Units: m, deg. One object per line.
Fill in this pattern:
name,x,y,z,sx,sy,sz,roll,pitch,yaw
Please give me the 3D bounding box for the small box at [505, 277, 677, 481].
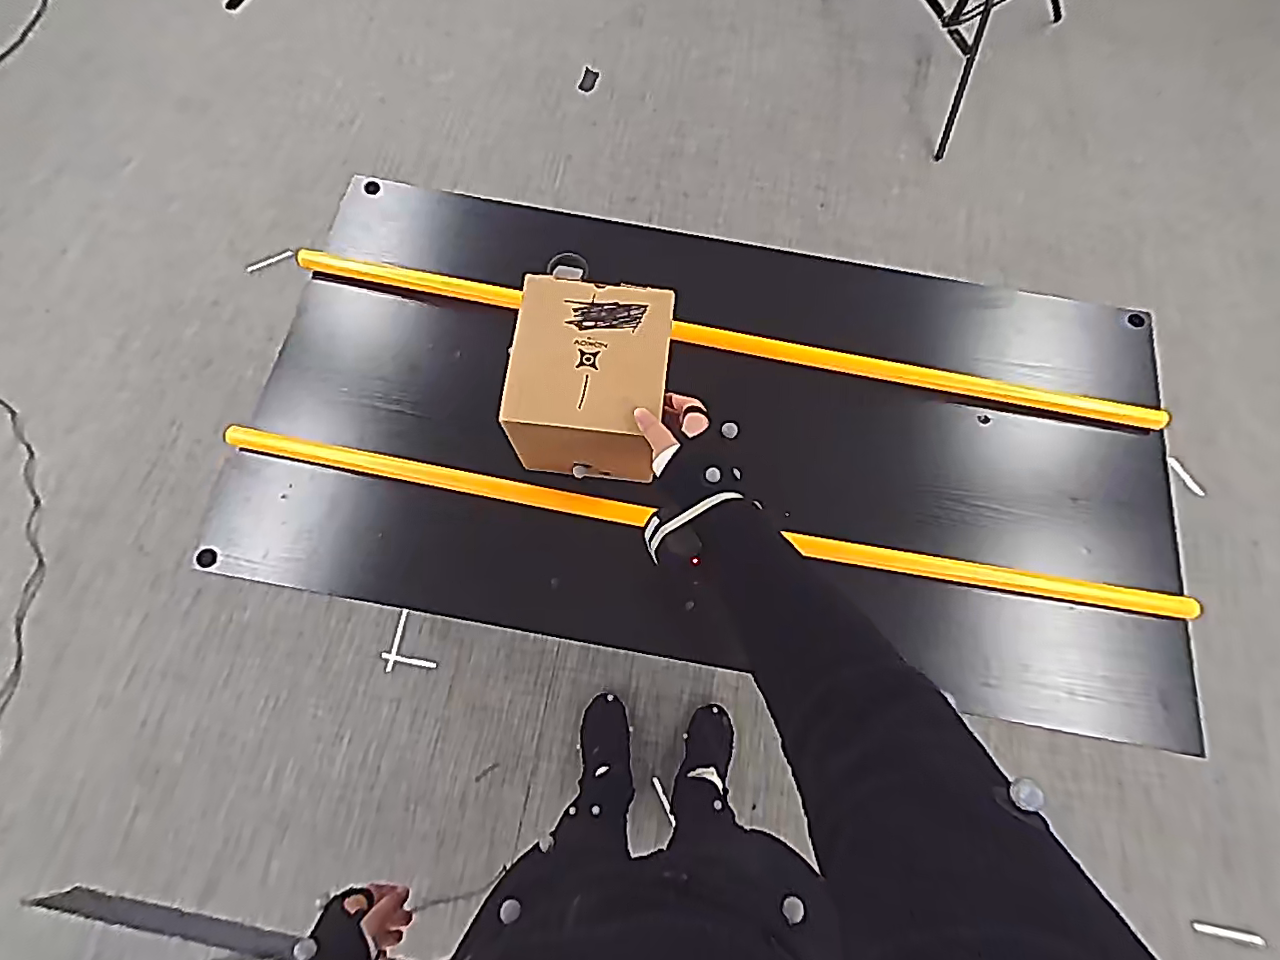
small box,-0.053,-0.112,0.653,0.168,0.176,0.179,6,74,0
